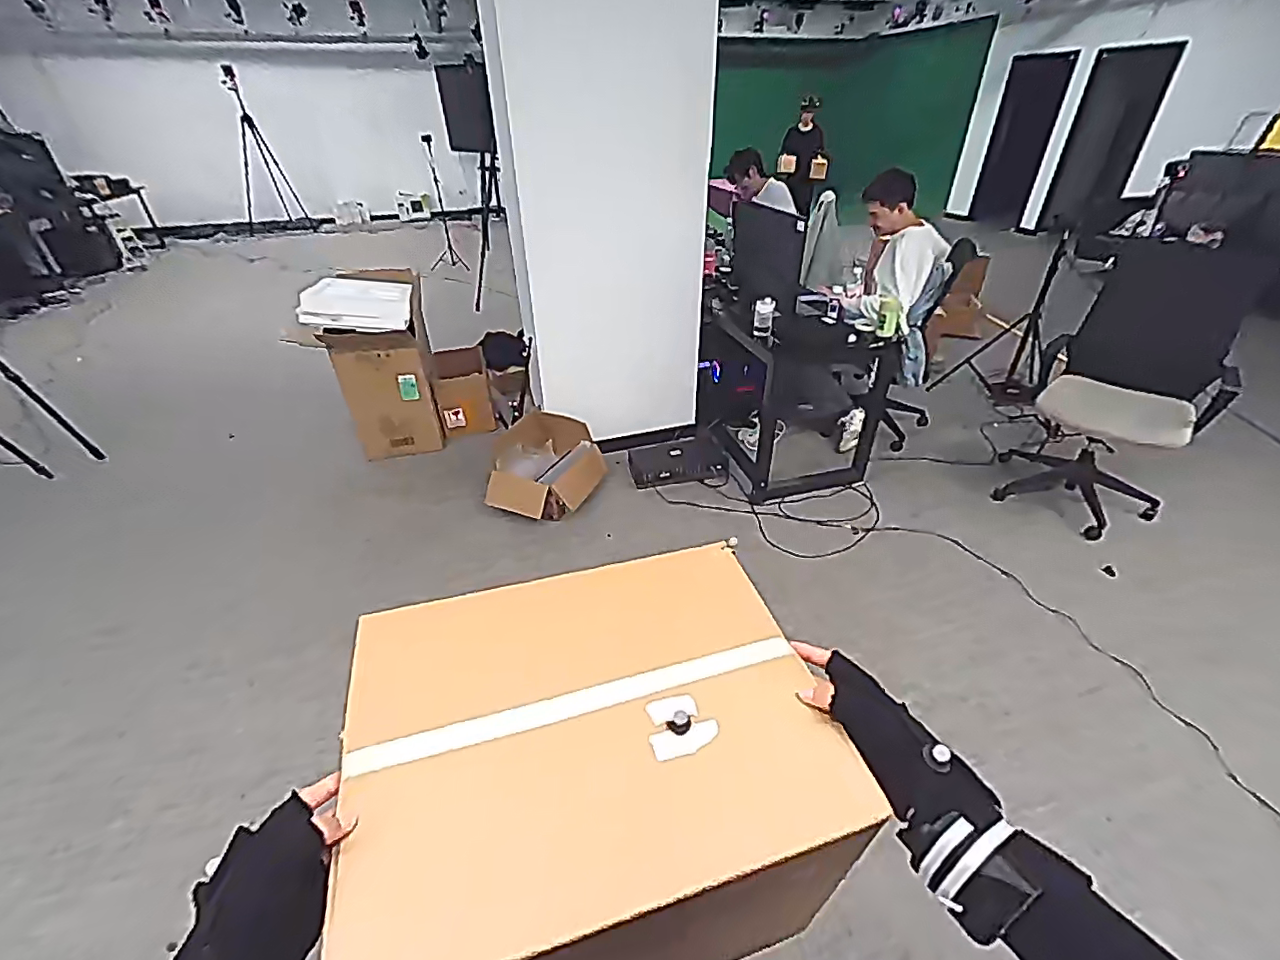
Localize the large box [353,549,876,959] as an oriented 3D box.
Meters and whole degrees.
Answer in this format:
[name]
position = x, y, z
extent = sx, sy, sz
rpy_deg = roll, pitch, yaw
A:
[large box]
position = -0.045, 0.324, 0.584
extent = 0.408, 0.320, 0.320
rpy_deg = -10, 39, -15
